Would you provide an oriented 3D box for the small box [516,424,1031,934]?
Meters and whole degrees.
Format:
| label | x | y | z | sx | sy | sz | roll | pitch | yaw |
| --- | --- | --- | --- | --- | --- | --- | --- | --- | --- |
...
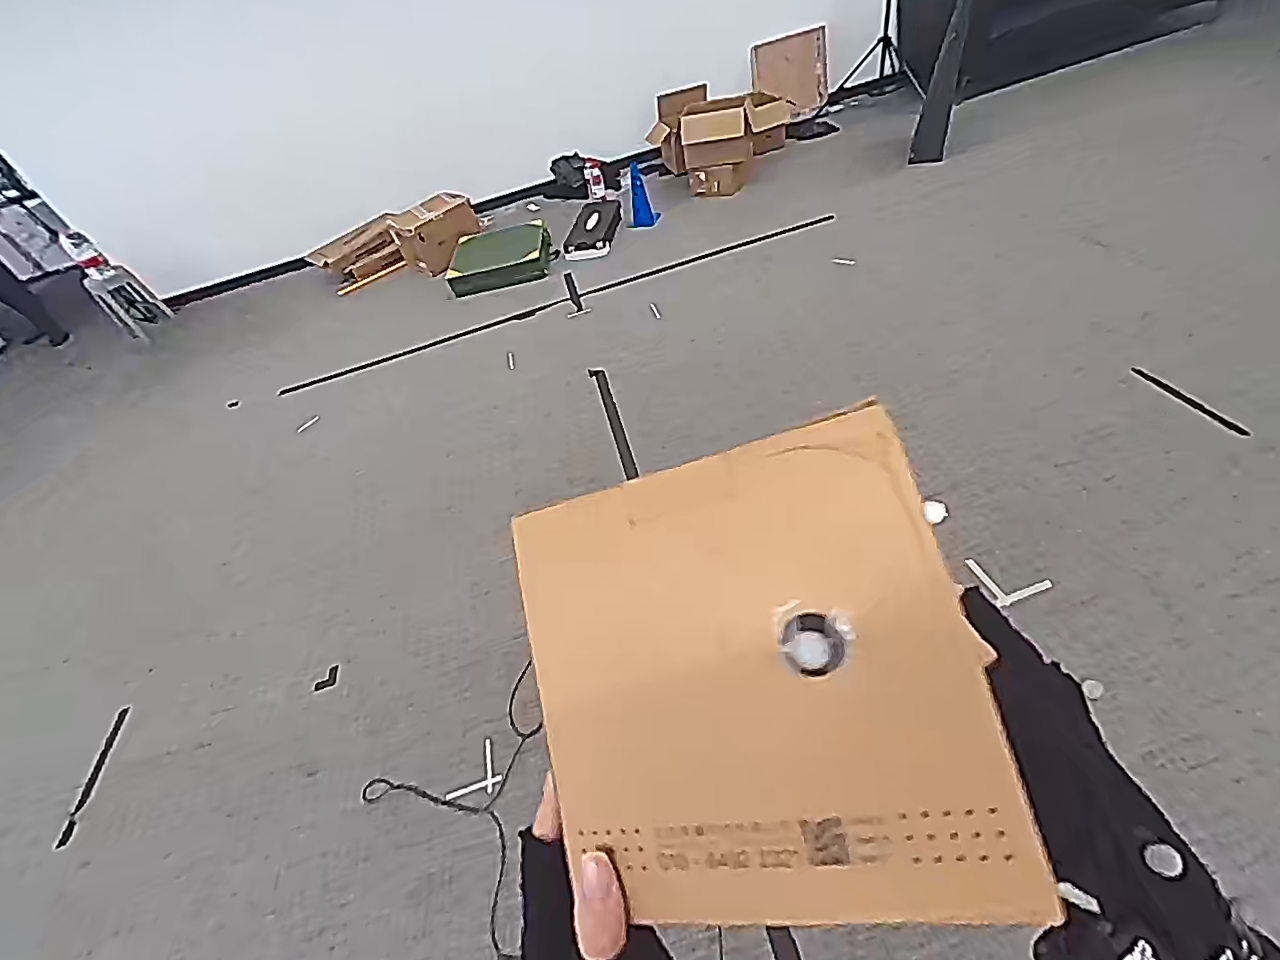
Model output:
| label | x | y | z | sx | sy | sz | roll | pitch | yaw |
| --- | --- | --- | --- | --- | --- | --- | --- | --- | --- |
| small box | 0.067 | 0.089 | 0.278 | 0.168 | 0.179 | 0.176 | -18 | 78 | 23 |
